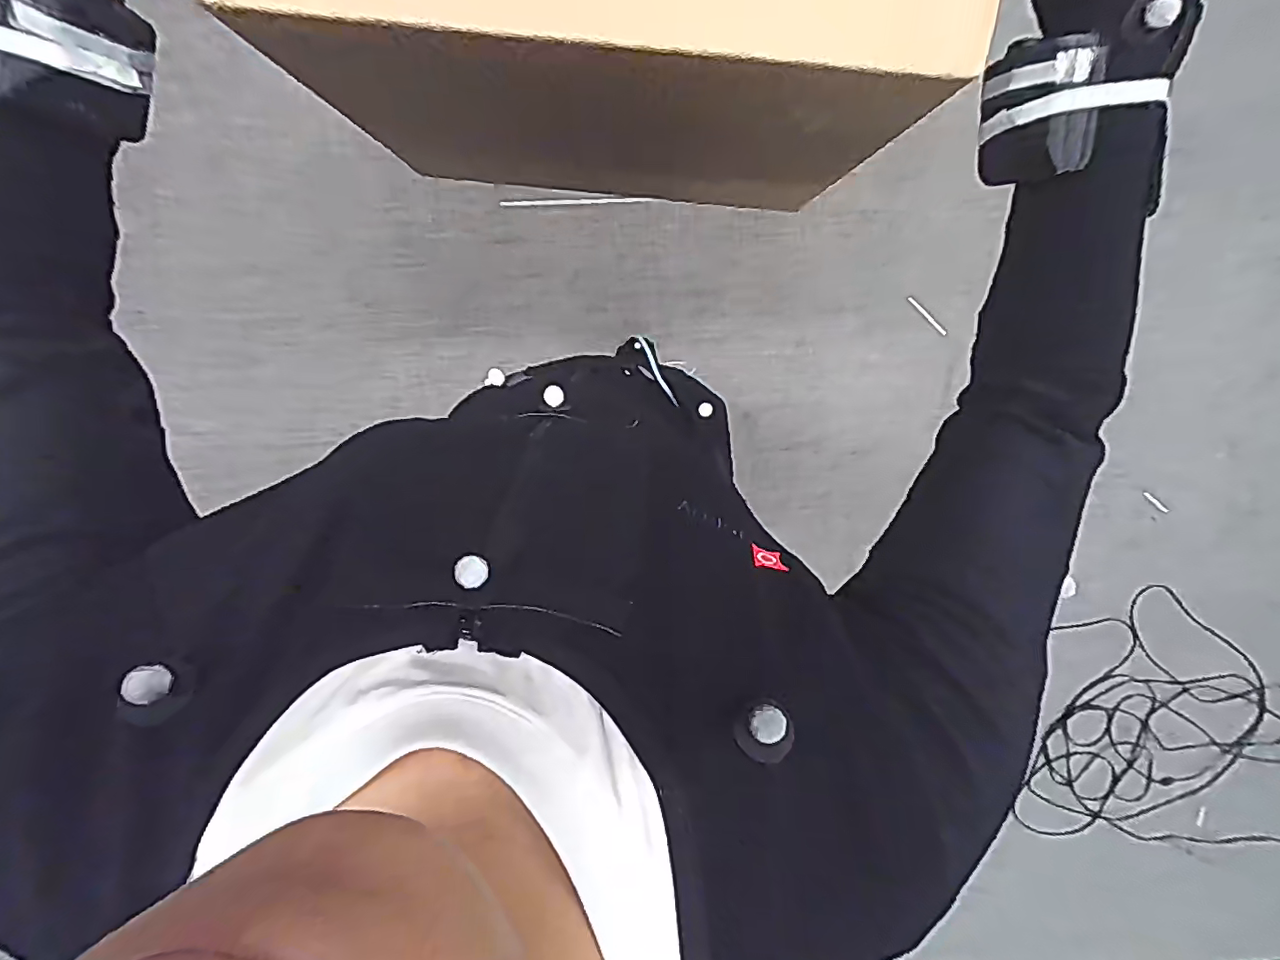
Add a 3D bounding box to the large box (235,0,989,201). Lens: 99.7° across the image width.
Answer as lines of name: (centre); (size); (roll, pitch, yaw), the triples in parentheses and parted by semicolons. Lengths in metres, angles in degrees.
large box: (-0.010, -0.417, 0.394); (0.408, 0.320, 0.320); (4, 105, -2)
